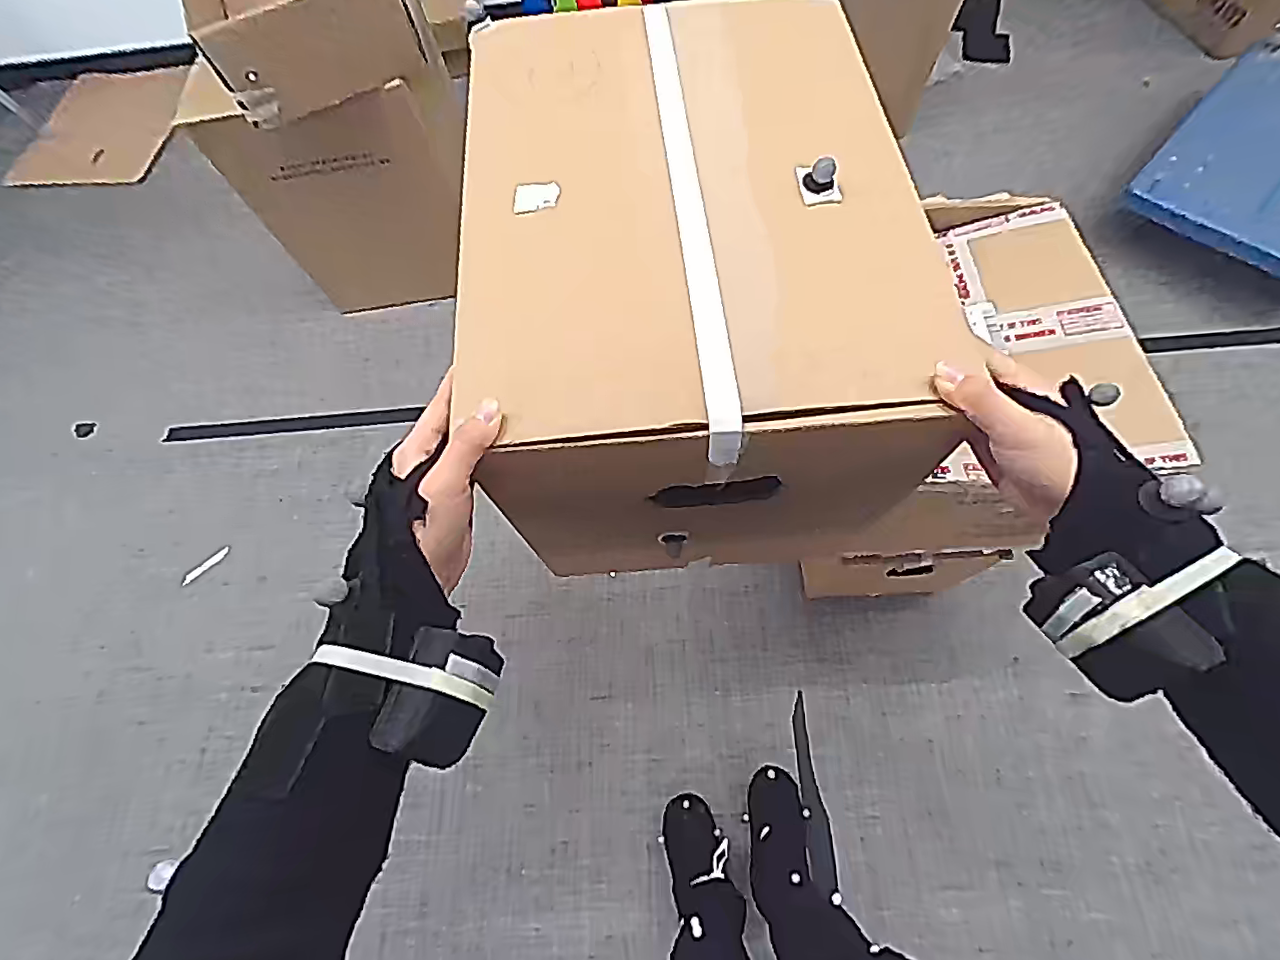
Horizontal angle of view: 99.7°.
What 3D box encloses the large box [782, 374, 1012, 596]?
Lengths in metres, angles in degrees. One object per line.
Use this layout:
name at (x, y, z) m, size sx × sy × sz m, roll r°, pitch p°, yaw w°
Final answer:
large box at (0.529, 0.025, 1.212) m, size 0.320 × 0.320 × 0.408 m, roll -5°, pitch 67°, yaw 3°
